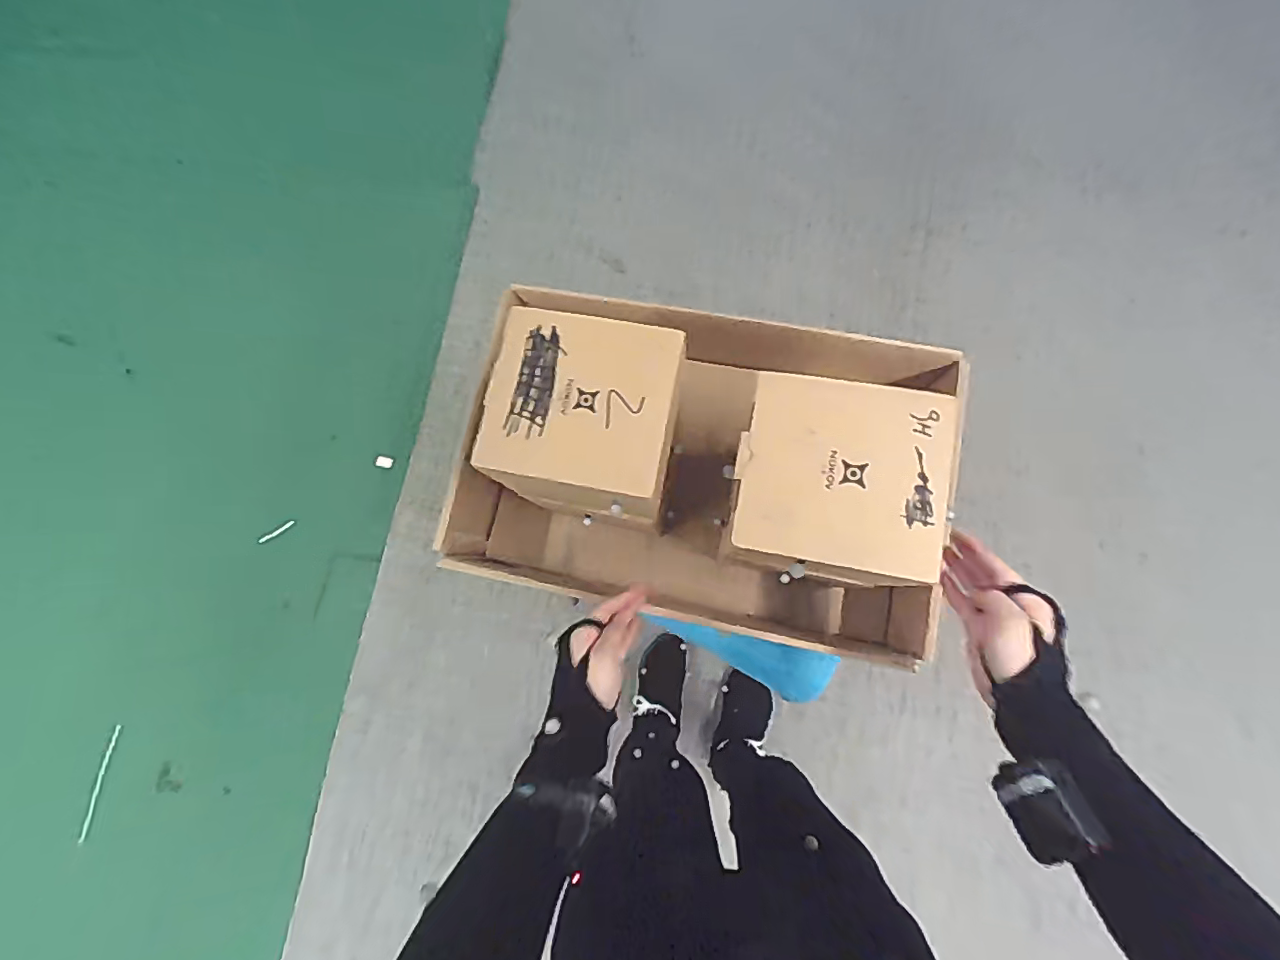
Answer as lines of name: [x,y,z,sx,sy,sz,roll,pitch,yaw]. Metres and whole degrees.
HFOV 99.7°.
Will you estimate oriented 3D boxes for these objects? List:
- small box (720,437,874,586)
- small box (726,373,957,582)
small box: [0.204,0.041,0.706,0.179,0.176,0.168,12,81,9]
small box: [0.187,0.008,0.546,0.179,0.176,0.168,10,81,10]
